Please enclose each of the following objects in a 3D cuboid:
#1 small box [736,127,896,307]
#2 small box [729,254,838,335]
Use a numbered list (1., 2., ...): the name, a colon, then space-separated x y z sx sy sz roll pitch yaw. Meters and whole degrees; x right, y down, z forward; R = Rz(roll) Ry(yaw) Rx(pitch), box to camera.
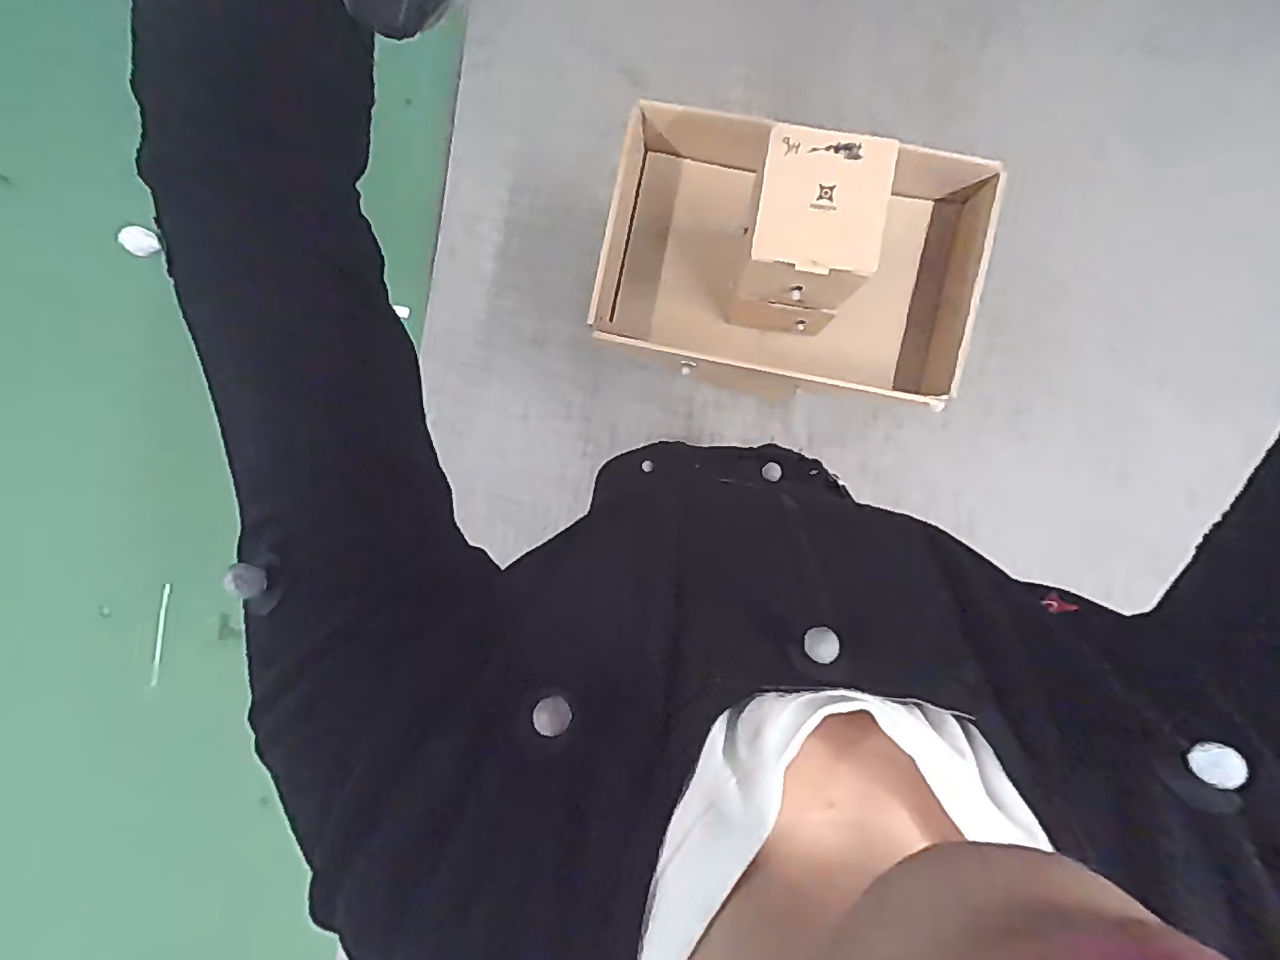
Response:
1. small box: 0.240 -0.365 0.784 0.168 0.176 0.179 10 93 2
2. small box: 0.255 -0.367 0.947 0.168 0.176 0.179 10 91 2
